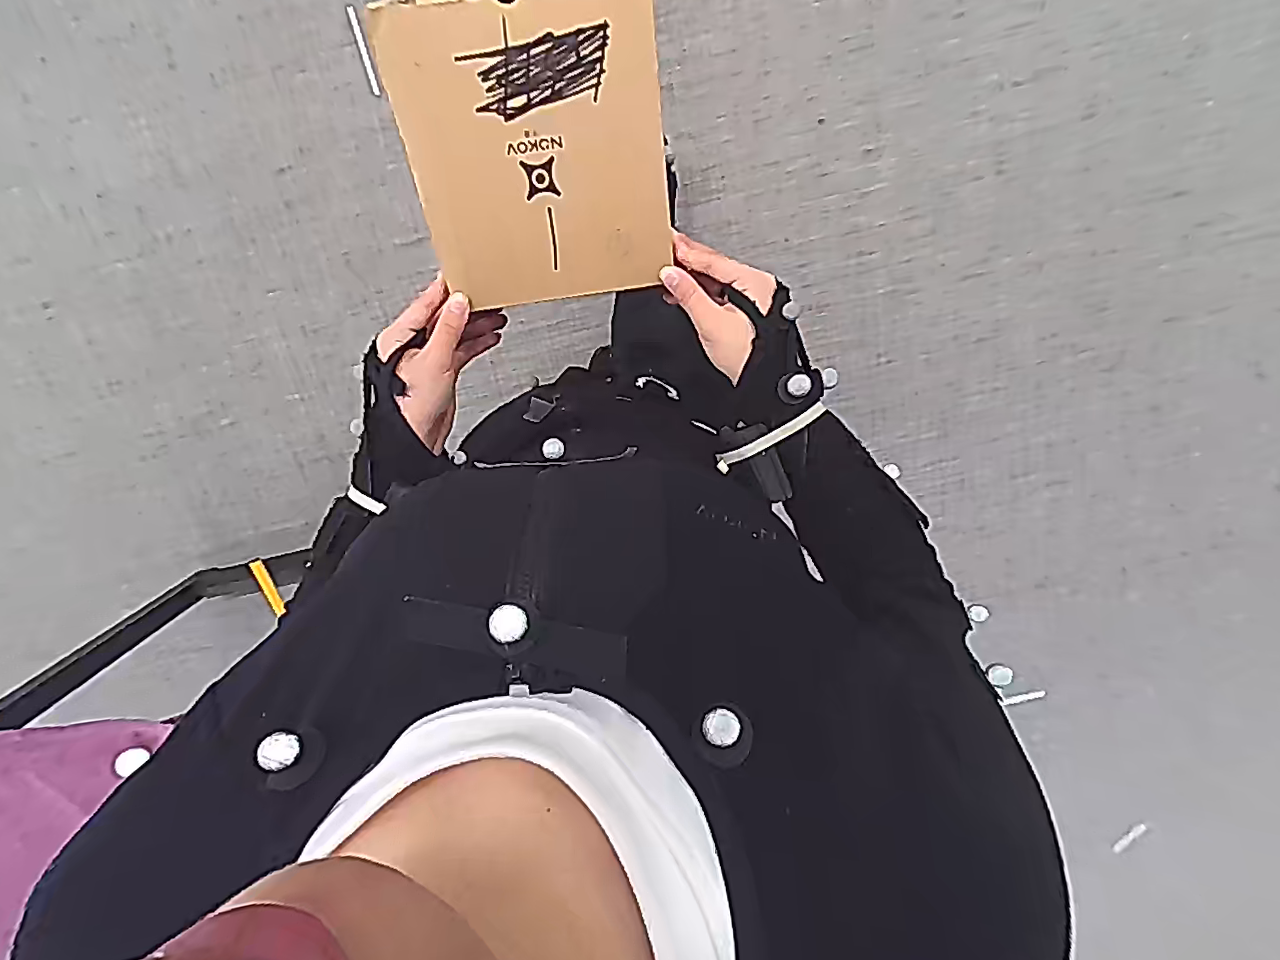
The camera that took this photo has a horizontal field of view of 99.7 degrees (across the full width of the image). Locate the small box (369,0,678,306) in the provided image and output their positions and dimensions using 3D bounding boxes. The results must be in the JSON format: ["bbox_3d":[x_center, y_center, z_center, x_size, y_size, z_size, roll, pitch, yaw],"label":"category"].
[{"bbox_3d":[-0.069,-0.249,0.410,0.168,0.176,0.179,-8,122,0],"label":"small box"}]

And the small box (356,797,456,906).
[{"bbox_3d":[-0.636,1.020,1.494,0.179,0.176,0.168,-16,109,2],"label":"small box"}]
